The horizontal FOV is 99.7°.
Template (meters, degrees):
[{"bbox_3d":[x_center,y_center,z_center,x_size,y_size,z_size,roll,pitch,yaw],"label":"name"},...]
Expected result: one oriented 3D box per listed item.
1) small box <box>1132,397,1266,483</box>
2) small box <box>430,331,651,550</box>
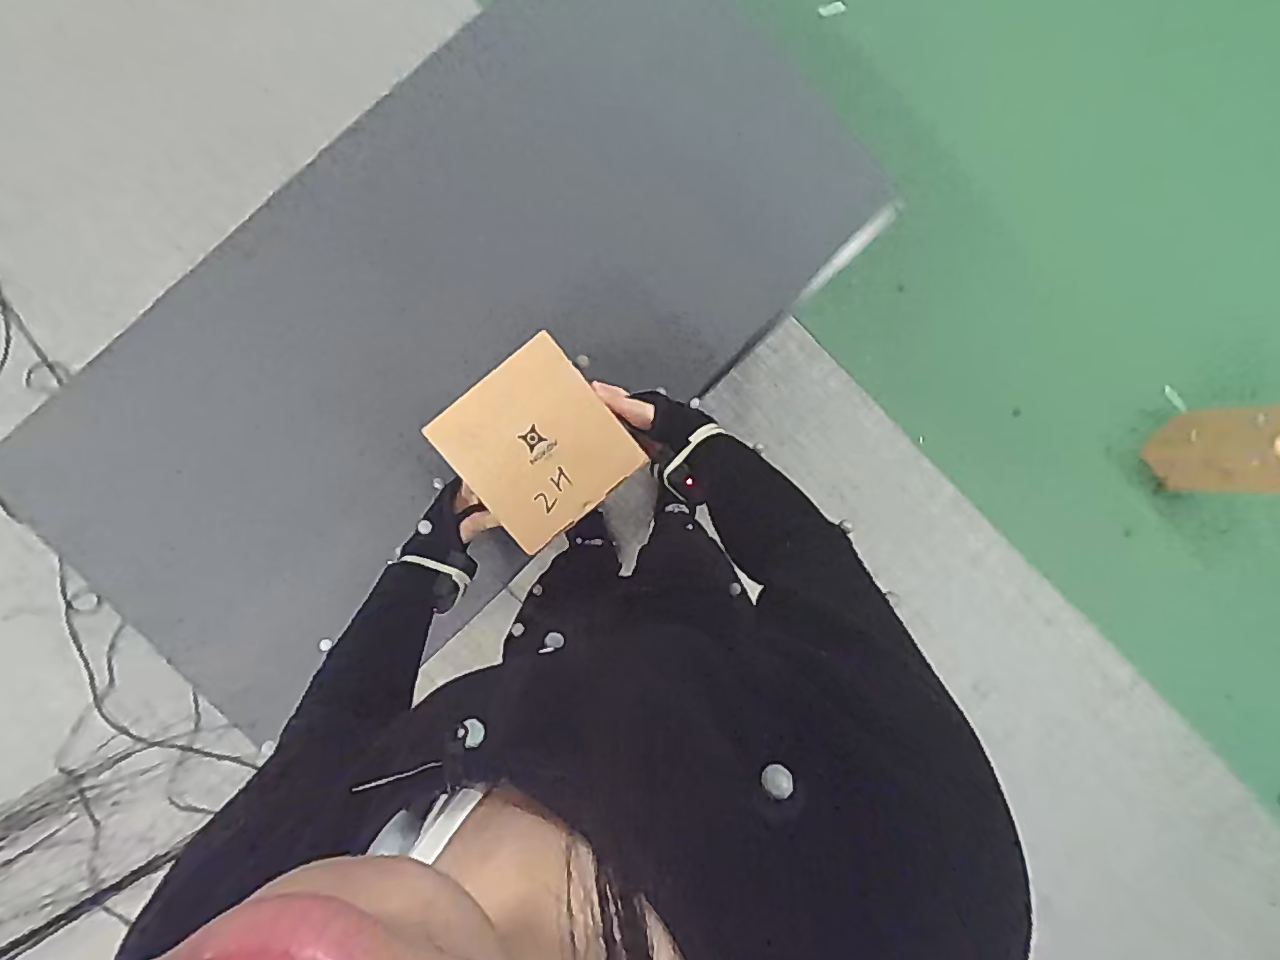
[{"bbox_3d":[1.572,-0.111,1.531,0.179,0.176,0.168,-43,94,-2],"label":"small box"},{"bbox_3d":[-0.108,-0.044,0.642,0.168,0.176,0.179,-38,96,0],"label":"small box"}]
